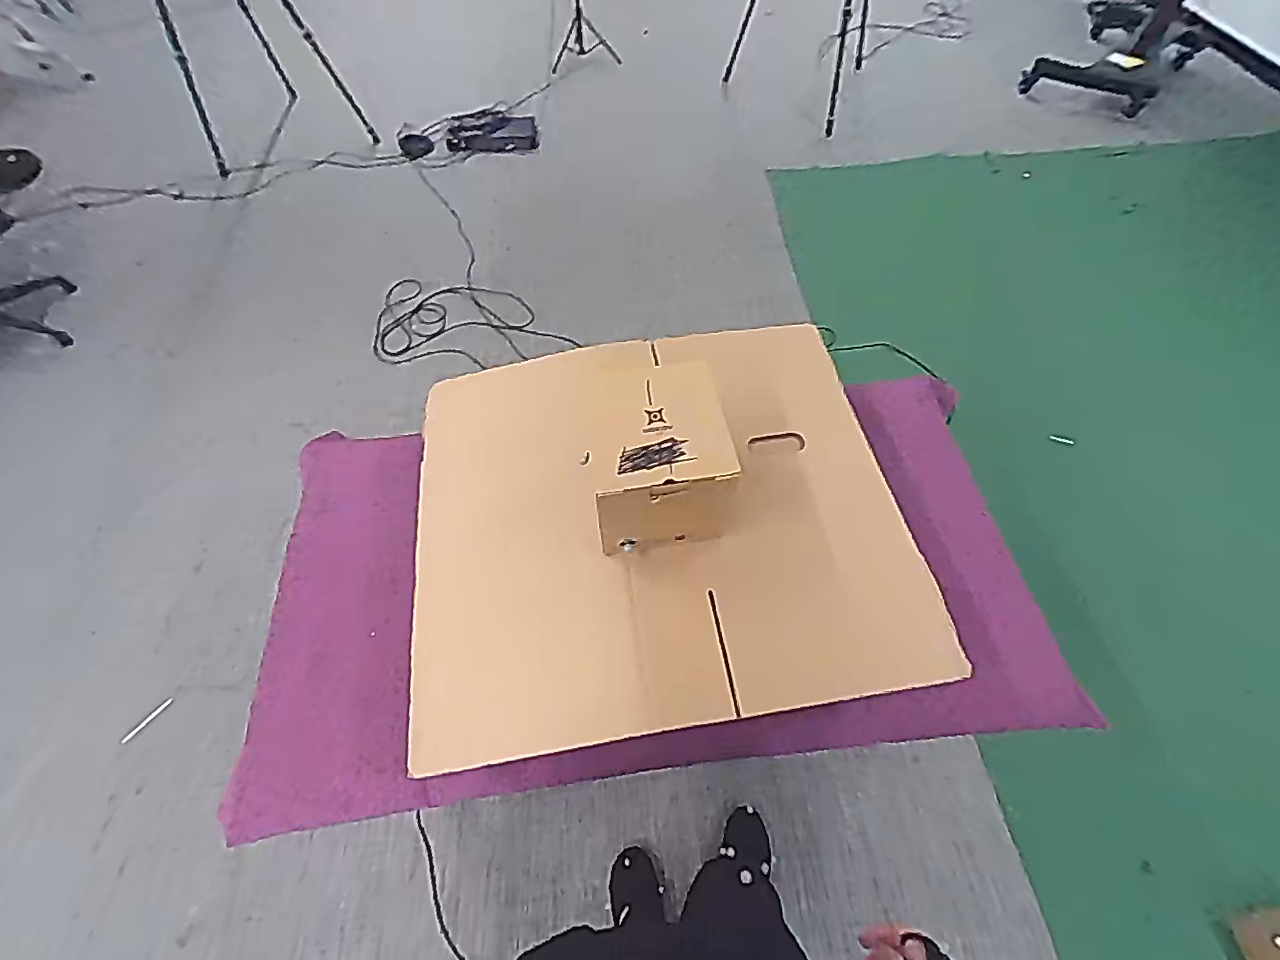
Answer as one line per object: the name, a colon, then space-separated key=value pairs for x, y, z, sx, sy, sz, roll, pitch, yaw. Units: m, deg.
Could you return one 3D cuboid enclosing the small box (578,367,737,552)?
small box: x=0.016 y=-0.018 z=0.699 sx=0.168 sy=0.176 sz=0.179 roll=-8 pitch=58 yaw=-6
